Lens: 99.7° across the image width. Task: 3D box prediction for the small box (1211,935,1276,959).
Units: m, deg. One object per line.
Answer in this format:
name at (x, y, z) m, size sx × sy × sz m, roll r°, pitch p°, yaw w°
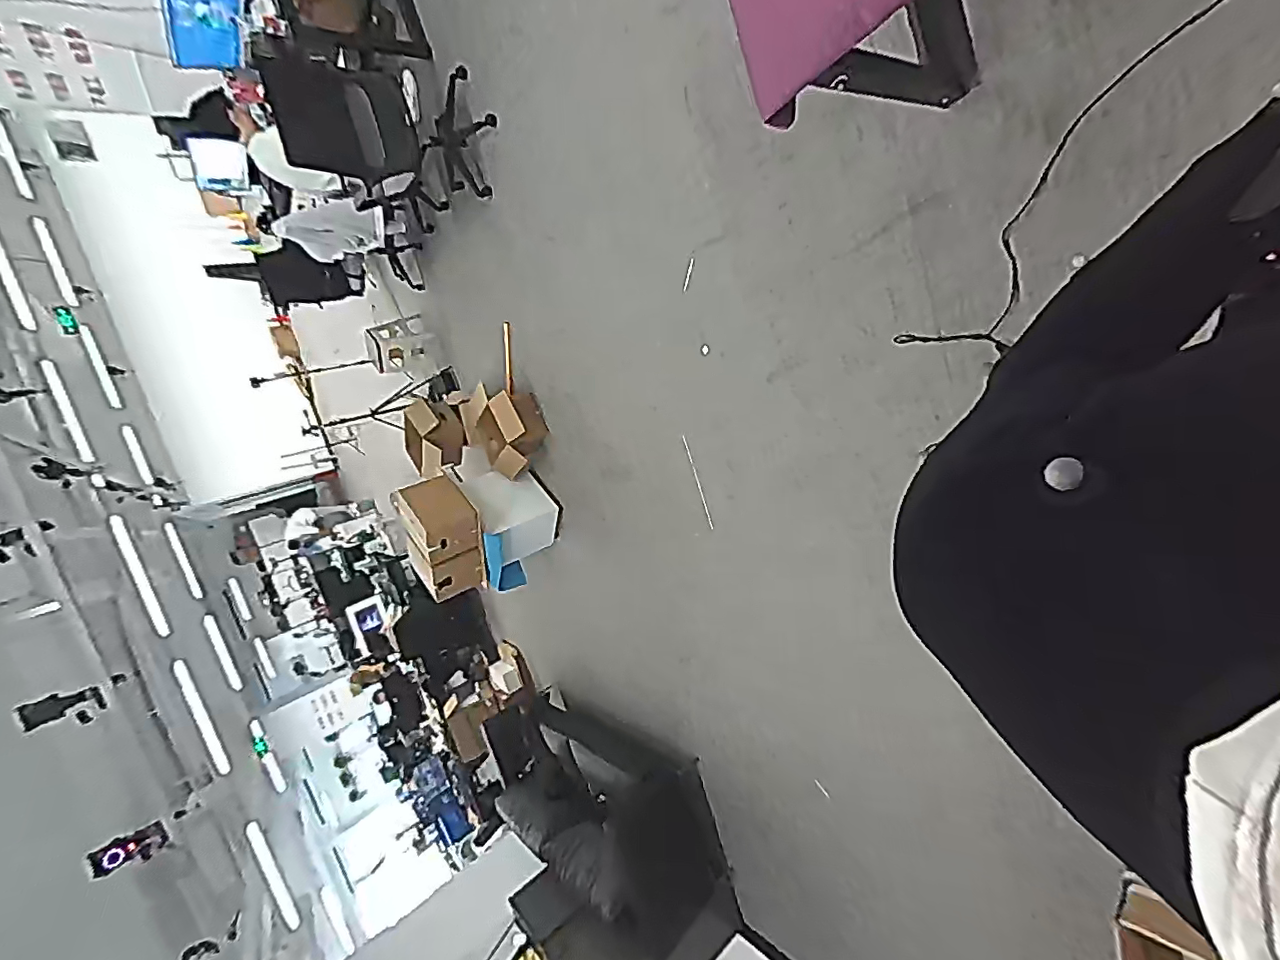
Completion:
small box at (1.172, 1.010, 0.995) m, size 0.168 × 0.176 × 0.179 m, roll -1°, pitch 108°, yaw 54°
